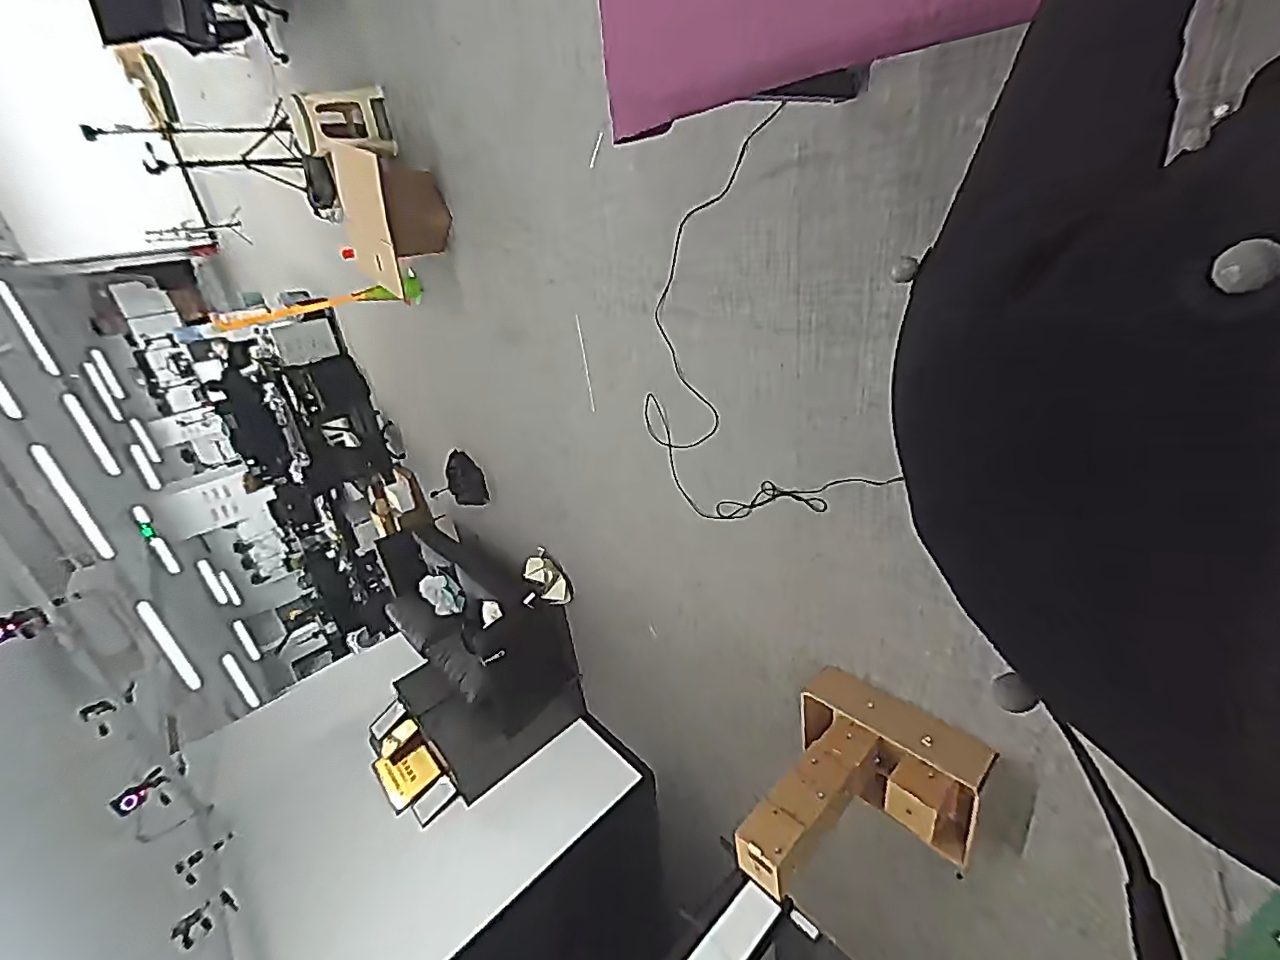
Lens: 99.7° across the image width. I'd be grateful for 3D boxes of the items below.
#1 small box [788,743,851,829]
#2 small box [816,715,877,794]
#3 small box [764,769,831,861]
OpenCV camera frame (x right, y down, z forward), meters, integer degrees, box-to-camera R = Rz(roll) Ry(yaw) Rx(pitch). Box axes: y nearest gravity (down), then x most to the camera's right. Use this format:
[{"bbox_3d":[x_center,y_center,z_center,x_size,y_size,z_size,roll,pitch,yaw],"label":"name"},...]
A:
[{"bbox_3d":[0.656,1.113,1.980,0.168,0.176,0.179,18,125,44],"label":"small box"},{"bbox_3d":[0.795,1.046,2.076,0.168,0.176,0.179,12,122,46],"label":"small box"},{"bbox_3d":[0.551,1.163,1.890,0.168,0.176,0.179,19,127,44],"label":"small box"}]
